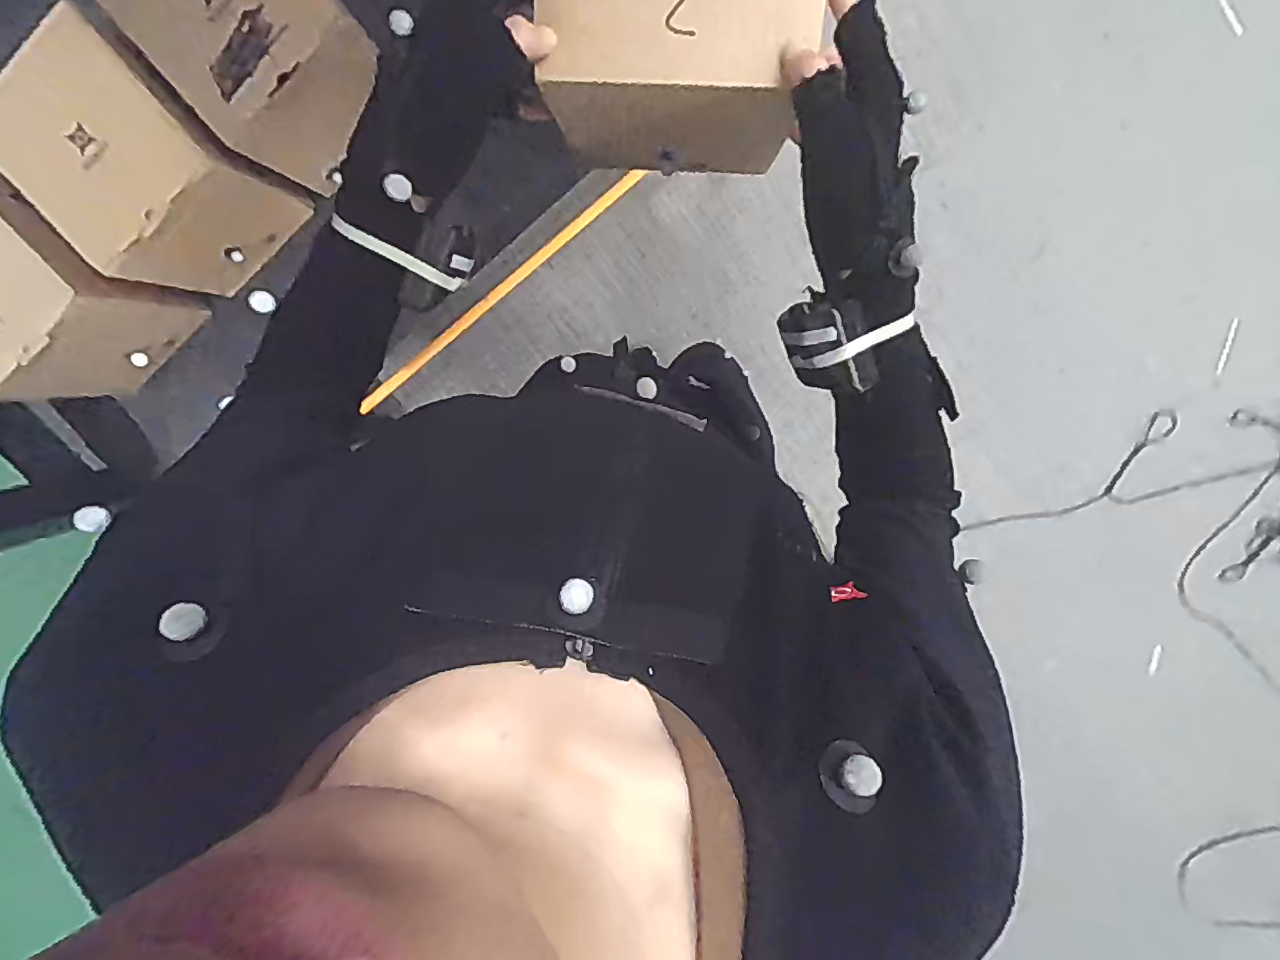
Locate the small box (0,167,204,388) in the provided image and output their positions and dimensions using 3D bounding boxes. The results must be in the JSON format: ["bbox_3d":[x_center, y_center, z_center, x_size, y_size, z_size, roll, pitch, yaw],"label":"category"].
[{"bbox_3d":[-0.667,-0.218,0.610,0.168,0.176,0.179,-39,99,9],"label":"small box"}]

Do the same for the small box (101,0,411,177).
[{"bbox_3d":[-0.377,-0.448,0.555,0.168,0.176,0.179,-39,98,9],"label":"small box"}]
